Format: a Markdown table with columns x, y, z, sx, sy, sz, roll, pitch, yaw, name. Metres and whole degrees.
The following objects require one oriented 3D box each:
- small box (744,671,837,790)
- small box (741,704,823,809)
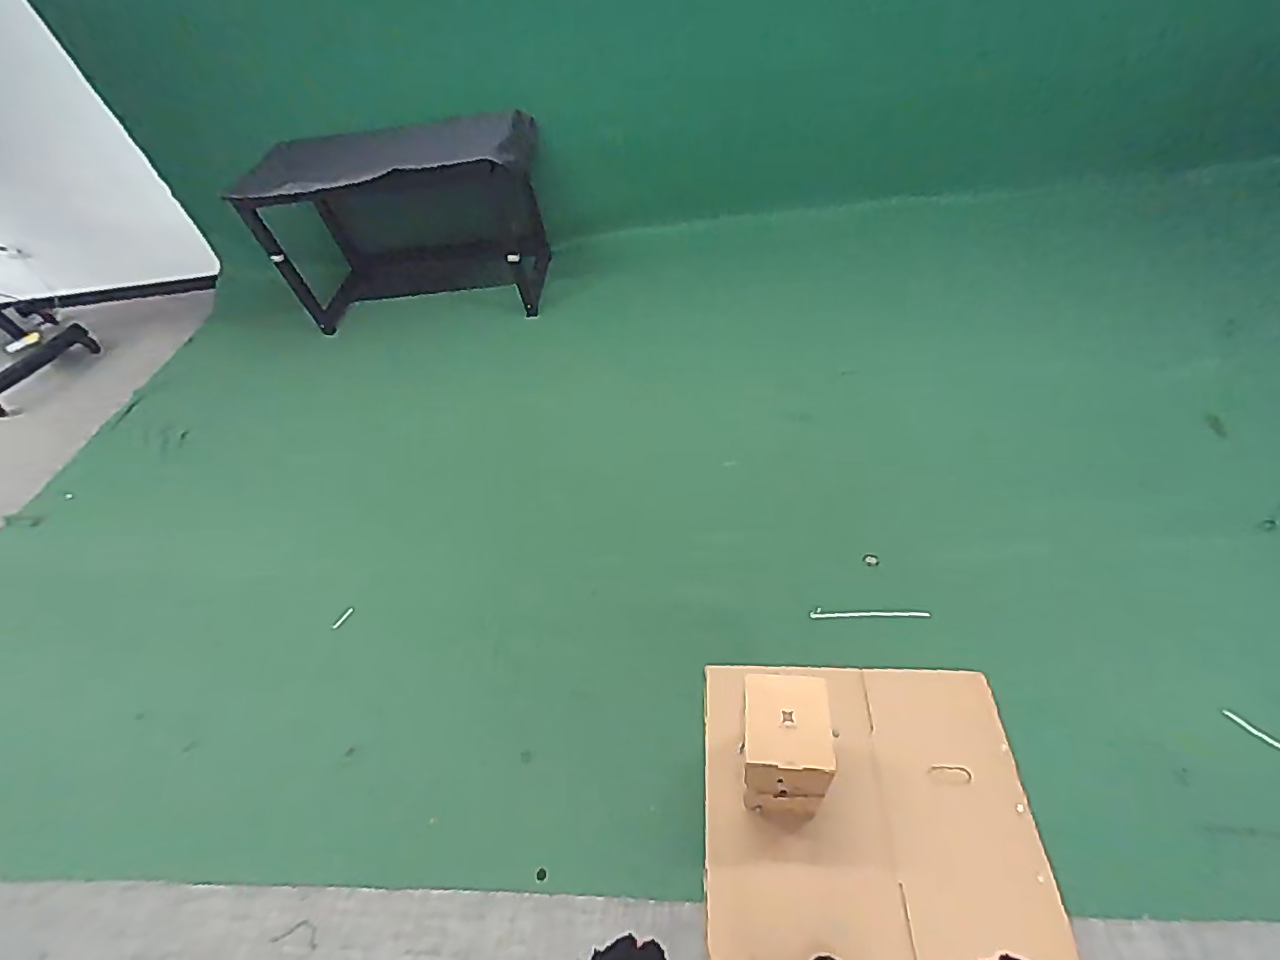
| x | y | z | sx | sy | sz | roll | pitch | yaw | name |
| --- | --- | --- | --- | --- | --- | --- | --- | --- | --- |
| 0.299 | 0.514 | 1.108 | 0.168 | 0.176 | 0.179 | 0 | 50 | 11 | small box |
| 0.315 | 0.628 | 1.223 | 0.168 | 0.176 | 0.179 | -1 | 49 | 10 | small box |
